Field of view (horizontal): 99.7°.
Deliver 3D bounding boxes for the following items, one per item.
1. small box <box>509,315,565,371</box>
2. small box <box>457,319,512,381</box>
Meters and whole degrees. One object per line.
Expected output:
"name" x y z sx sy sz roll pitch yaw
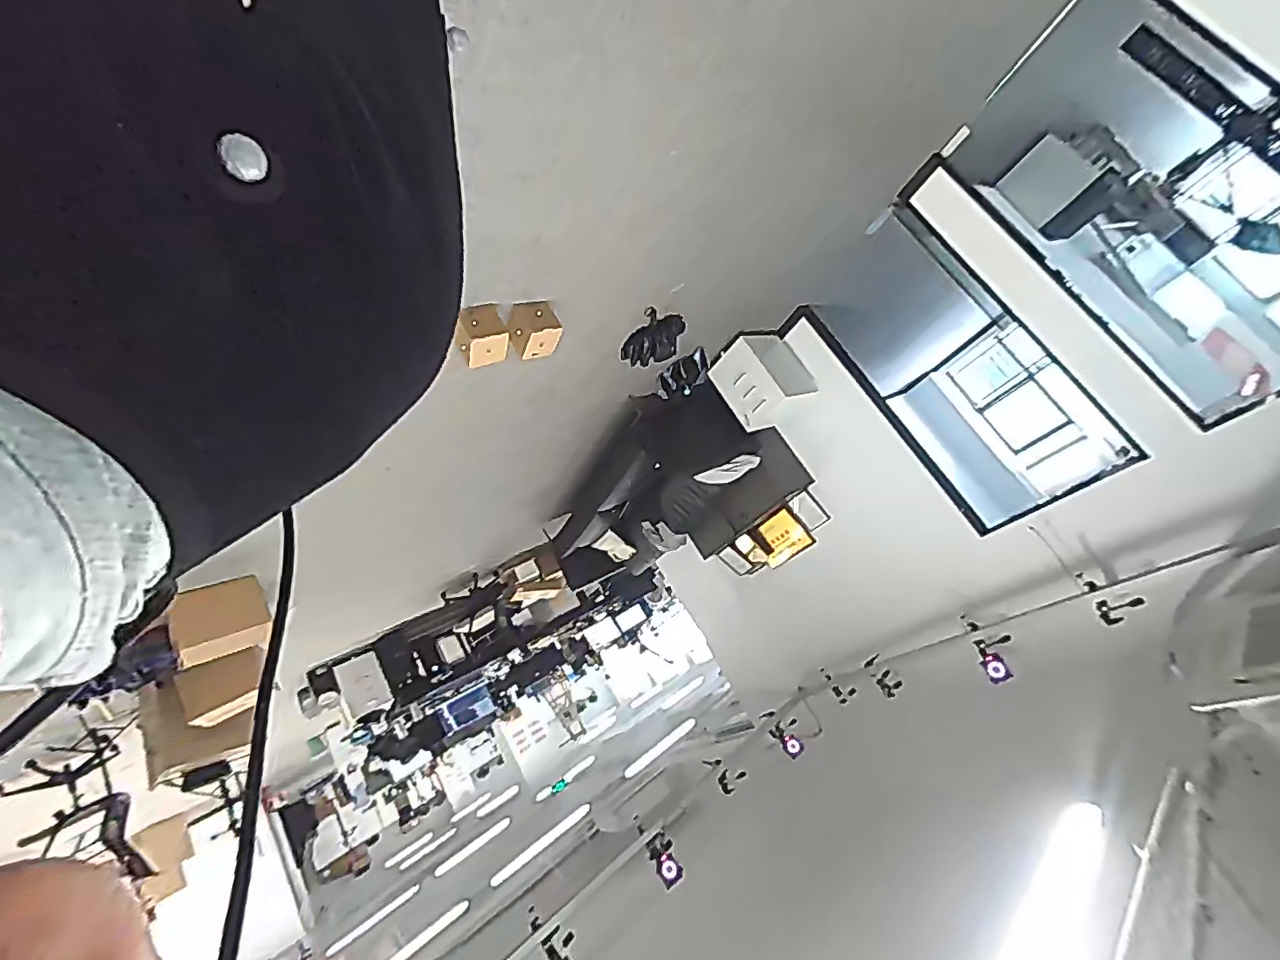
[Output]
"small box" -0.465 -0.619 2.415 0.168 0.176 0.179 -22 160 -37
"small box" -0.654 -0.550 2.255 0.168 0.176 0.179 -23 163 -29
